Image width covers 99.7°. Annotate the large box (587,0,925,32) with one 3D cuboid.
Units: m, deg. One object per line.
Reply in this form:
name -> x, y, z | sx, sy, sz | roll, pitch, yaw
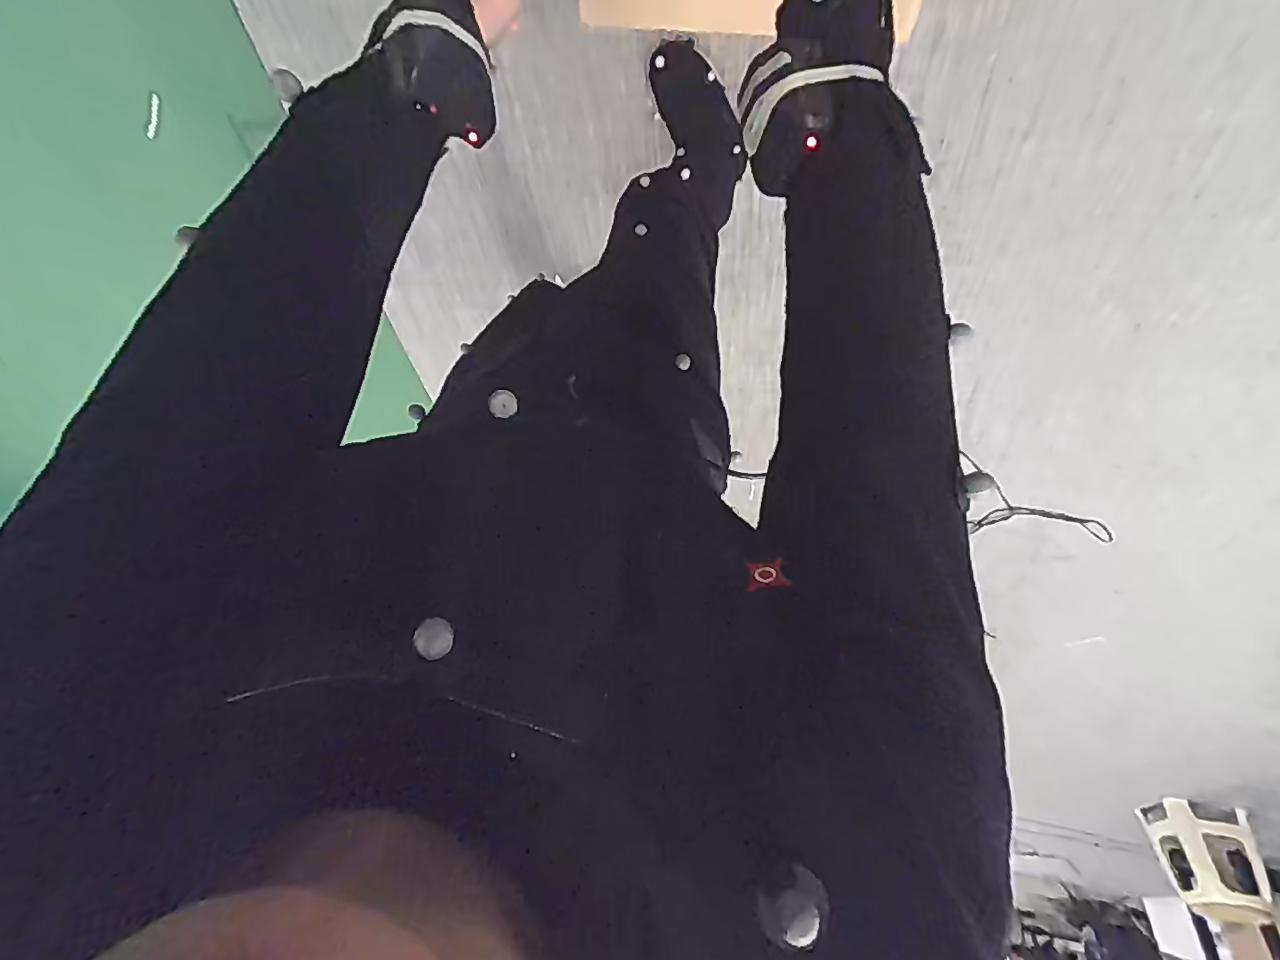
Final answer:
large box -> 0.152, -0.761, 0.643 | 0.408, 0.320, 0.320 | 8, 140, 7
